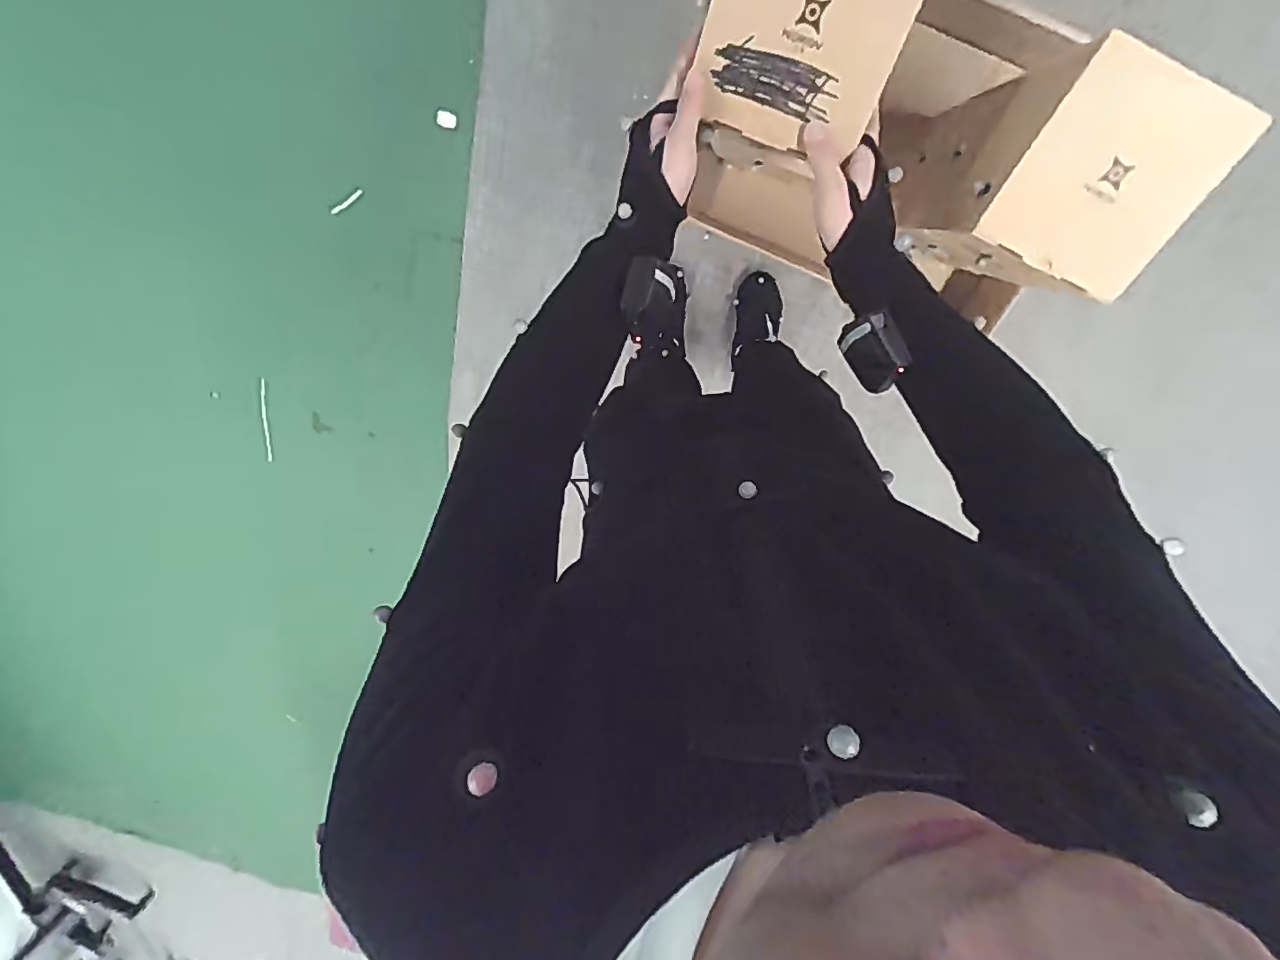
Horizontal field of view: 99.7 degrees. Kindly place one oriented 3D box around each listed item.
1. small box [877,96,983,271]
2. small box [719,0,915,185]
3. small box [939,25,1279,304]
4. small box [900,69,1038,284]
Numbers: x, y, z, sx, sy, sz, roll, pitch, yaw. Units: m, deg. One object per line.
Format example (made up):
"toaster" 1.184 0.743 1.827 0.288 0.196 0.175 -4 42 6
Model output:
"small box" 0.504 -0.458 0.851 0.168 0.176 0.179 27 119 -4
"small box" 0.208 -0.500 0.691 0.168 0.176 0.179 21 118 0
"small box" 0.453 -0.313 0.564 0.168 0.176 0.179 26 118 -3
"small box" 0.475 -0.386 0.708 0.168 0.176 0.179 26 118 -4
